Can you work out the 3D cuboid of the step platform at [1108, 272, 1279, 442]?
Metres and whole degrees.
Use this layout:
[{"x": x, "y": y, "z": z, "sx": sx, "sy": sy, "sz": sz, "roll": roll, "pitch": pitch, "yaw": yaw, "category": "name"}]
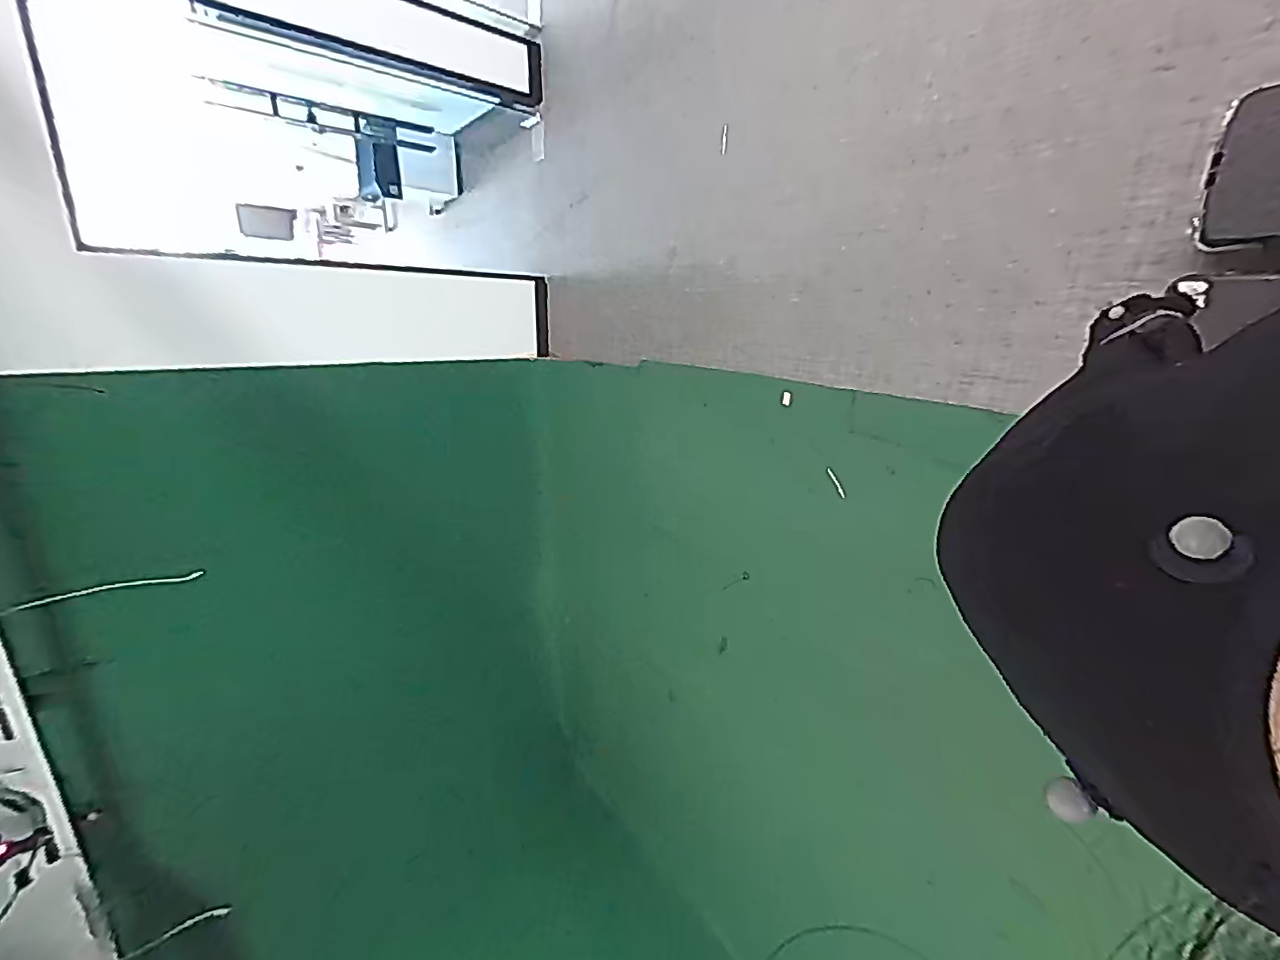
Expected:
[{"x": 1.173, "y": -0.168, "z": 0.811, "sx": 0.684, "sy": 0.204, "sz": 0.286, "roll": 20, "pitch": 114, "yaw": 47, "category": "step platform"}]
